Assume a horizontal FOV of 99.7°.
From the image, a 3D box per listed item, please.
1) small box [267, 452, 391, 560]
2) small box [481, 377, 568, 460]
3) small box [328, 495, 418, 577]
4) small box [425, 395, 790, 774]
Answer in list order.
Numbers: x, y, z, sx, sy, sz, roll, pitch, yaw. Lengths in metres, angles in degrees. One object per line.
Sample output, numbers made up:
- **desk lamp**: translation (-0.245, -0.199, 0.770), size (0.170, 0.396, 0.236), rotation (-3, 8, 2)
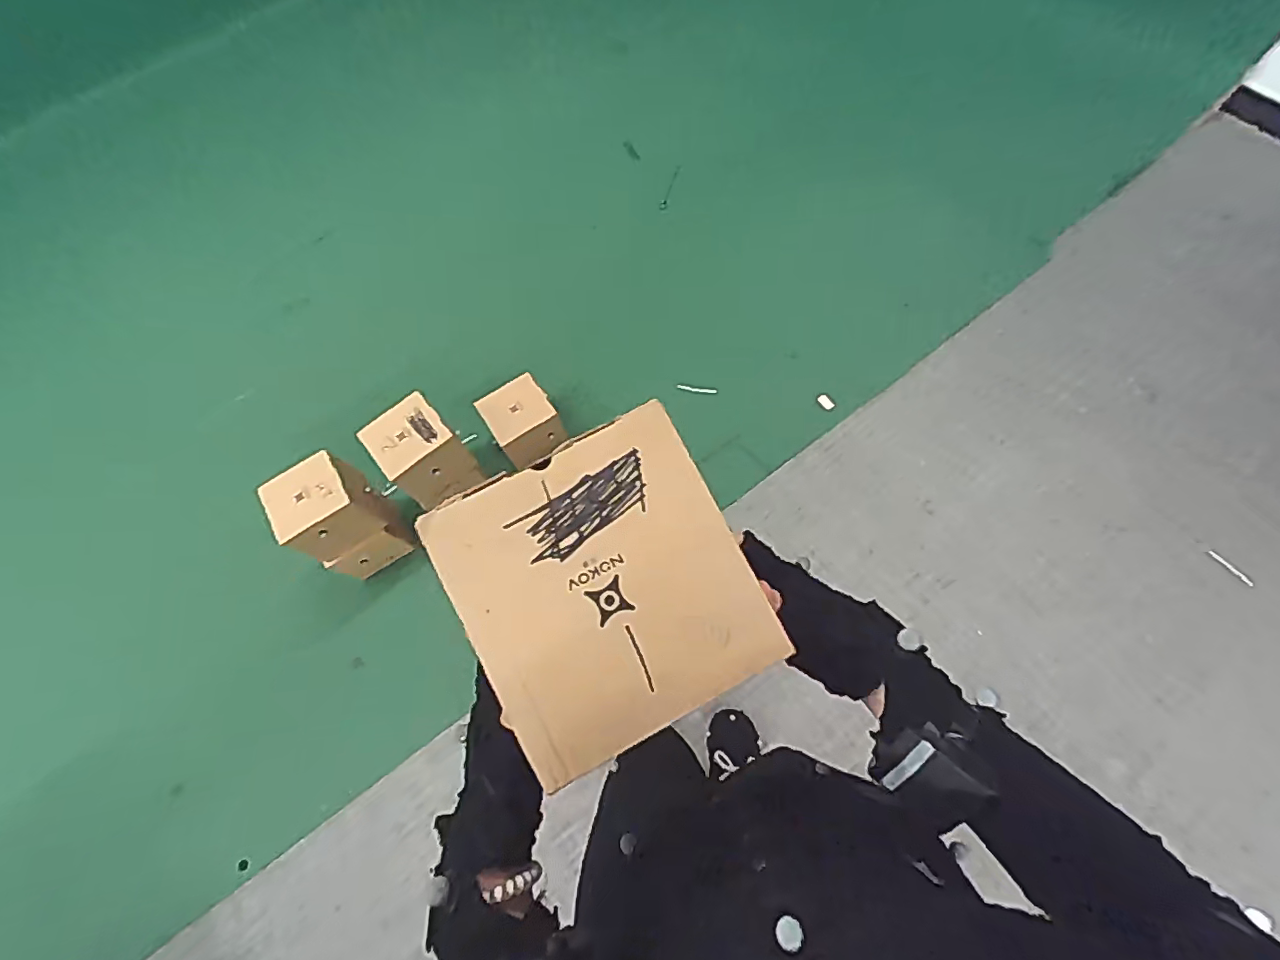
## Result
- **small box**: translation (-0.744, 0.070, 1.306), size (0.179, 0.176, 0.168), rotation (-32, 69, -8)
- **small box**: translation (-0.318, -0.154, 1.539), size (0.179, 0.176, 0.168), rotation (-32, 68, -8)
- **small box**: translation (-0.731, 0.144, 1.453), size (0.168, 0.176, 0.179), rotation (-31, 68, -8)
- **small box**: translation (-0.024, 0.068, 0.400), size (0.168, 0.176, 0.179), rotation (-27, 84, -6)
